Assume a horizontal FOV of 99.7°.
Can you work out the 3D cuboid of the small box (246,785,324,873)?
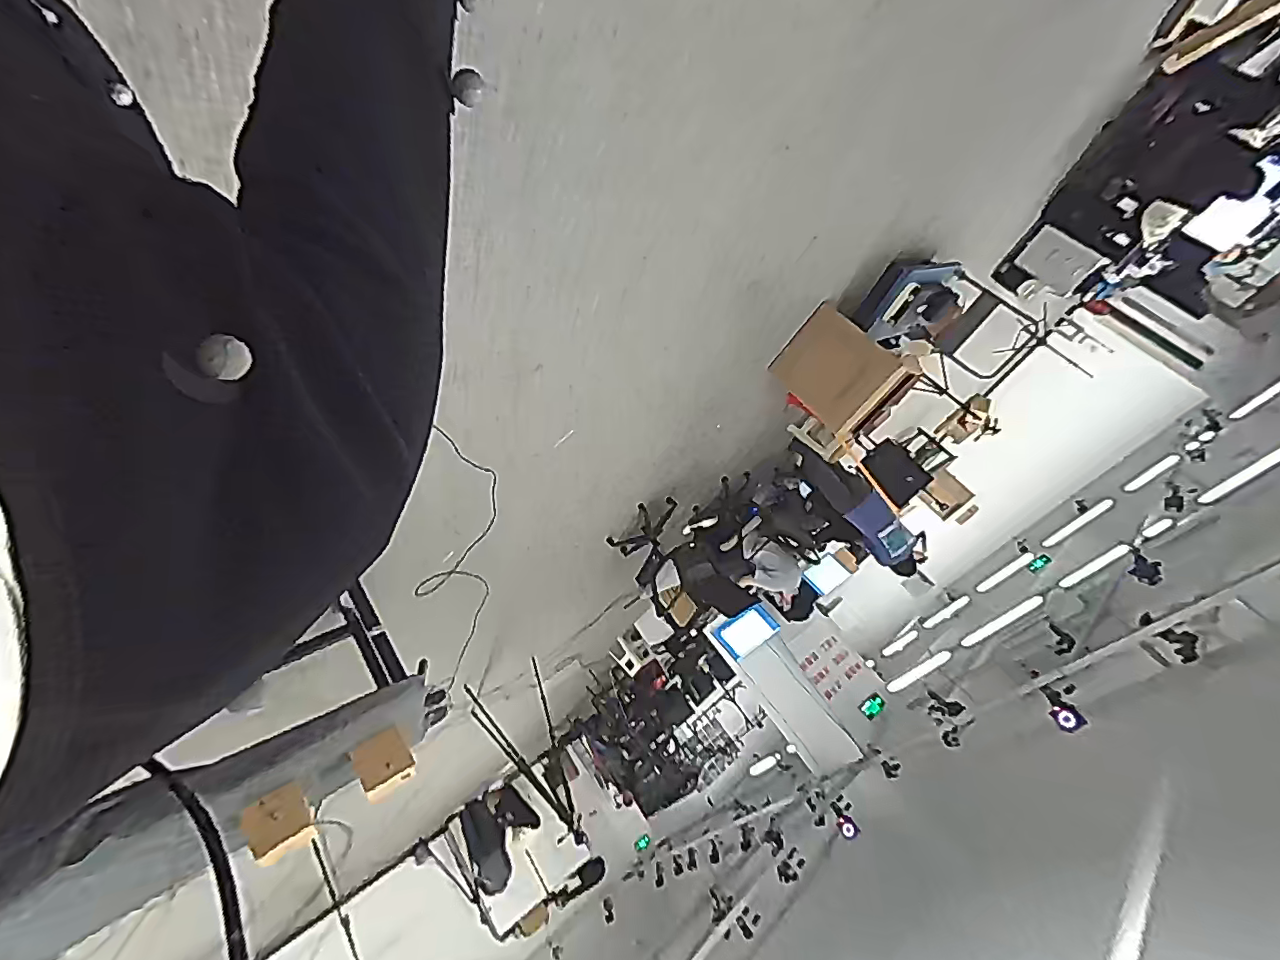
[{"bbox_3d":[-1.172,1.148,1.787,0.168,0.176,0.179,-22,150,-37],"label":"small box"}]

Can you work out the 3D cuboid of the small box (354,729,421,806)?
[{"bbox_3d":[-0.926,1.054,1.988,0.179,0.176,0.168,-22,151,-34],"label":"small box"}]
